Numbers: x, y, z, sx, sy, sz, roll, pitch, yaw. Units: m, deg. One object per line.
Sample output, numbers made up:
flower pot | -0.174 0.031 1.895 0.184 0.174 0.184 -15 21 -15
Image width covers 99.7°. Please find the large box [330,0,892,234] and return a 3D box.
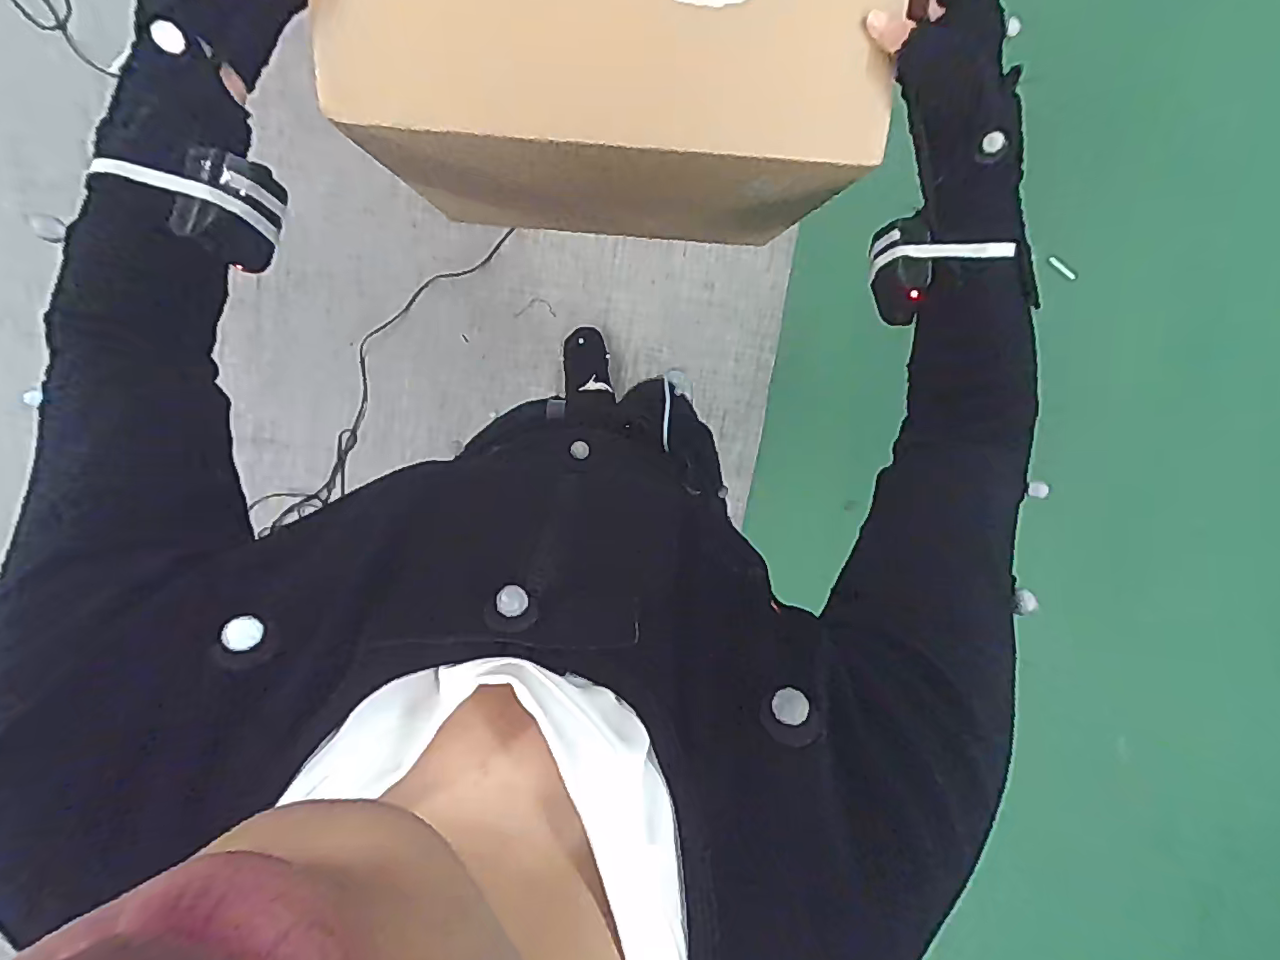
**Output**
large box | -0.022 -0.437 0.509 0.408 0.320 0.320 3 104 -5
